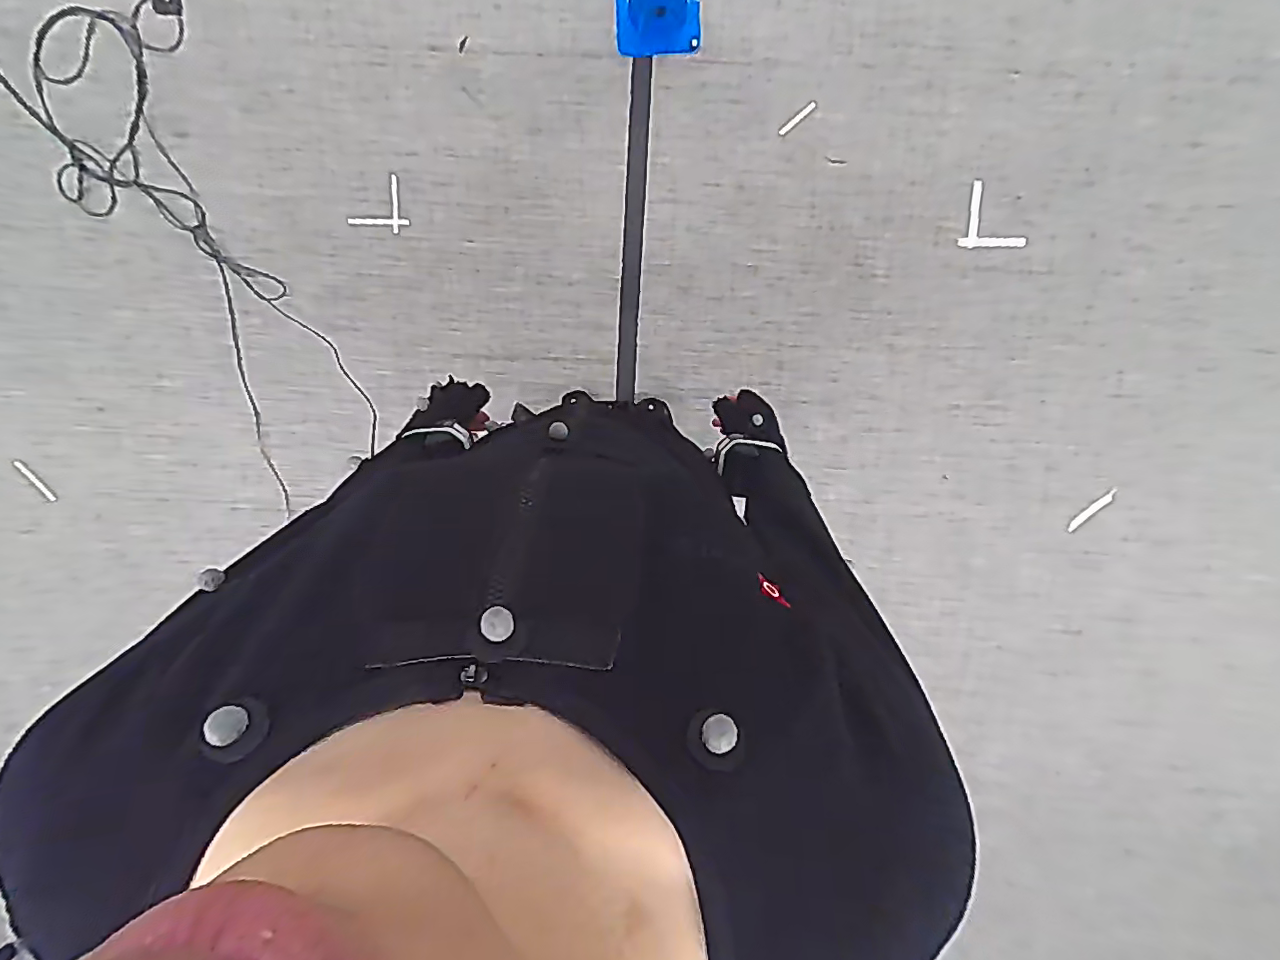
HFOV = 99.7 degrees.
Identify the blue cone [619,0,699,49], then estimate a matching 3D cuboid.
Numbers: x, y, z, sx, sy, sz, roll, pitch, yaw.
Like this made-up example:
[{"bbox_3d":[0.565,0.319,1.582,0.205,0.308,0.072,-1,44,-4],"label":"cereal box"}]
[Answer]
[{"bbox_3d":[0.049,-1.094,1.114,0.192,0.380,0.193,-1,101,-1],"label":"blue cone"}]
